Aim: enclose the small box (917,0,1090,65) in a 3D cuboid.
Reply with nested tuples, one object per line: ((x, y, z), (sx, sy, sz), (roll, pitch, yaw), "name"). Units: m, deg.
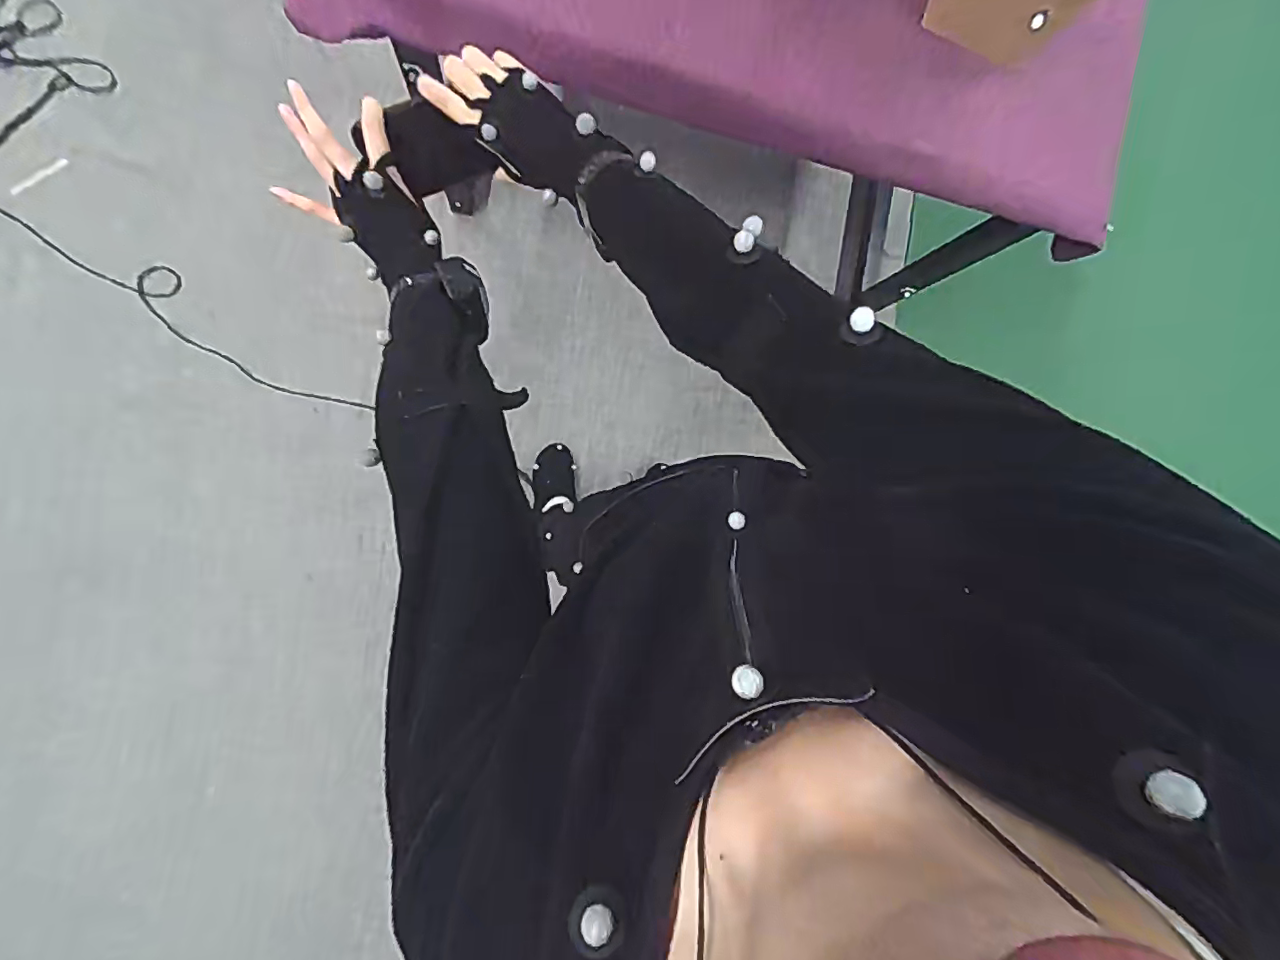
((0.544, -0.753, 0.775), (0.179, 0.176, 0.168), (19, 87, -10), "small box")
